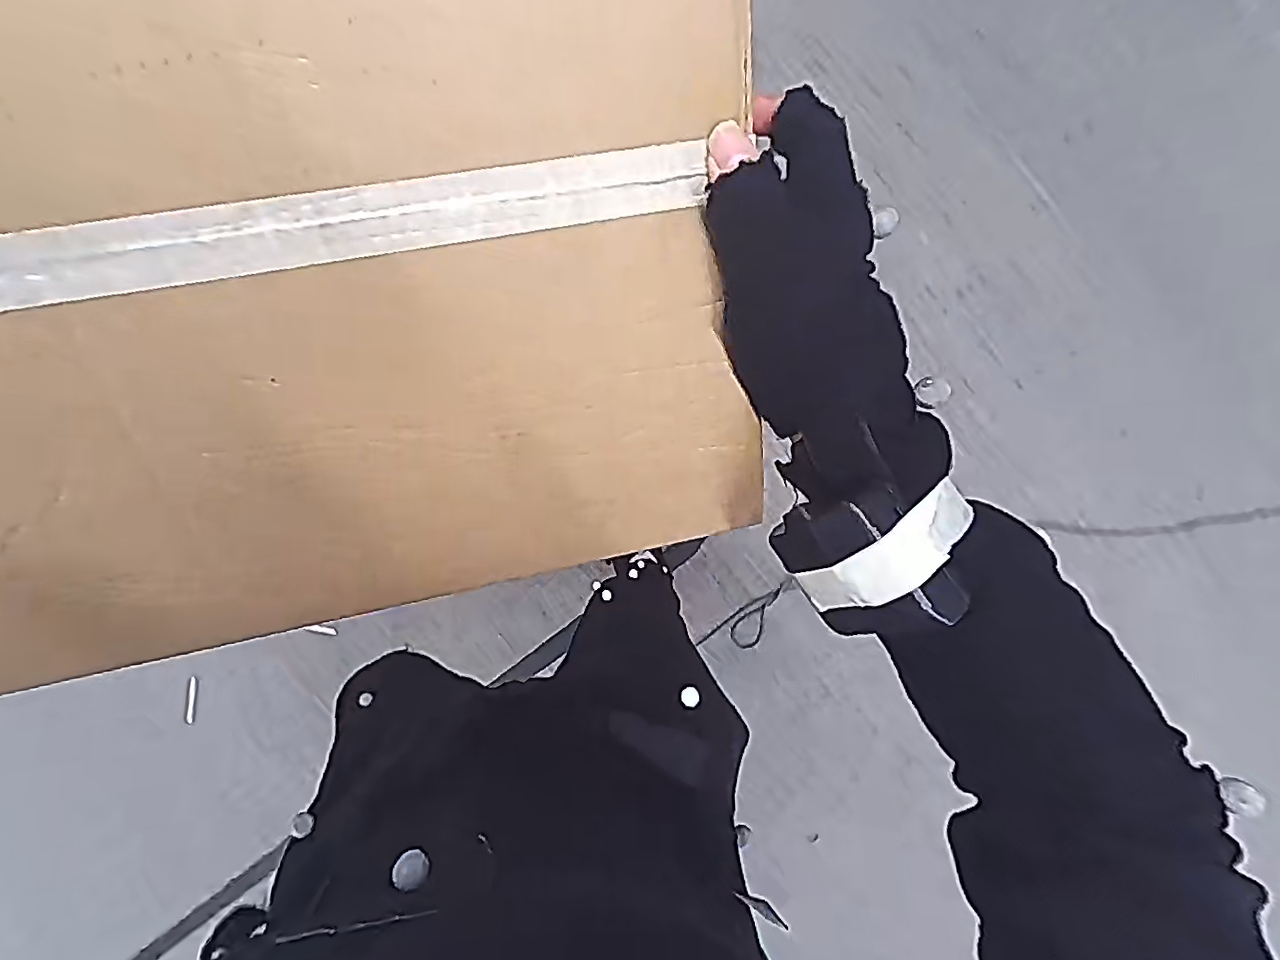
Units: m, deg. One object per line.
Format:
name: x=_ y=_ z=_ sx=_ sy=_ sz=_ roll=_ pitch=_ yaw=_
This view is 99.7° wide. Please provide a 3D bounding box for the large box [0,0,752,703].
large box: x=-0.180 y=-0.132 z=0.318 sx=0.408 sy=0.320 sz=0.320 roll=-11 pitch=117 yaw=-7
